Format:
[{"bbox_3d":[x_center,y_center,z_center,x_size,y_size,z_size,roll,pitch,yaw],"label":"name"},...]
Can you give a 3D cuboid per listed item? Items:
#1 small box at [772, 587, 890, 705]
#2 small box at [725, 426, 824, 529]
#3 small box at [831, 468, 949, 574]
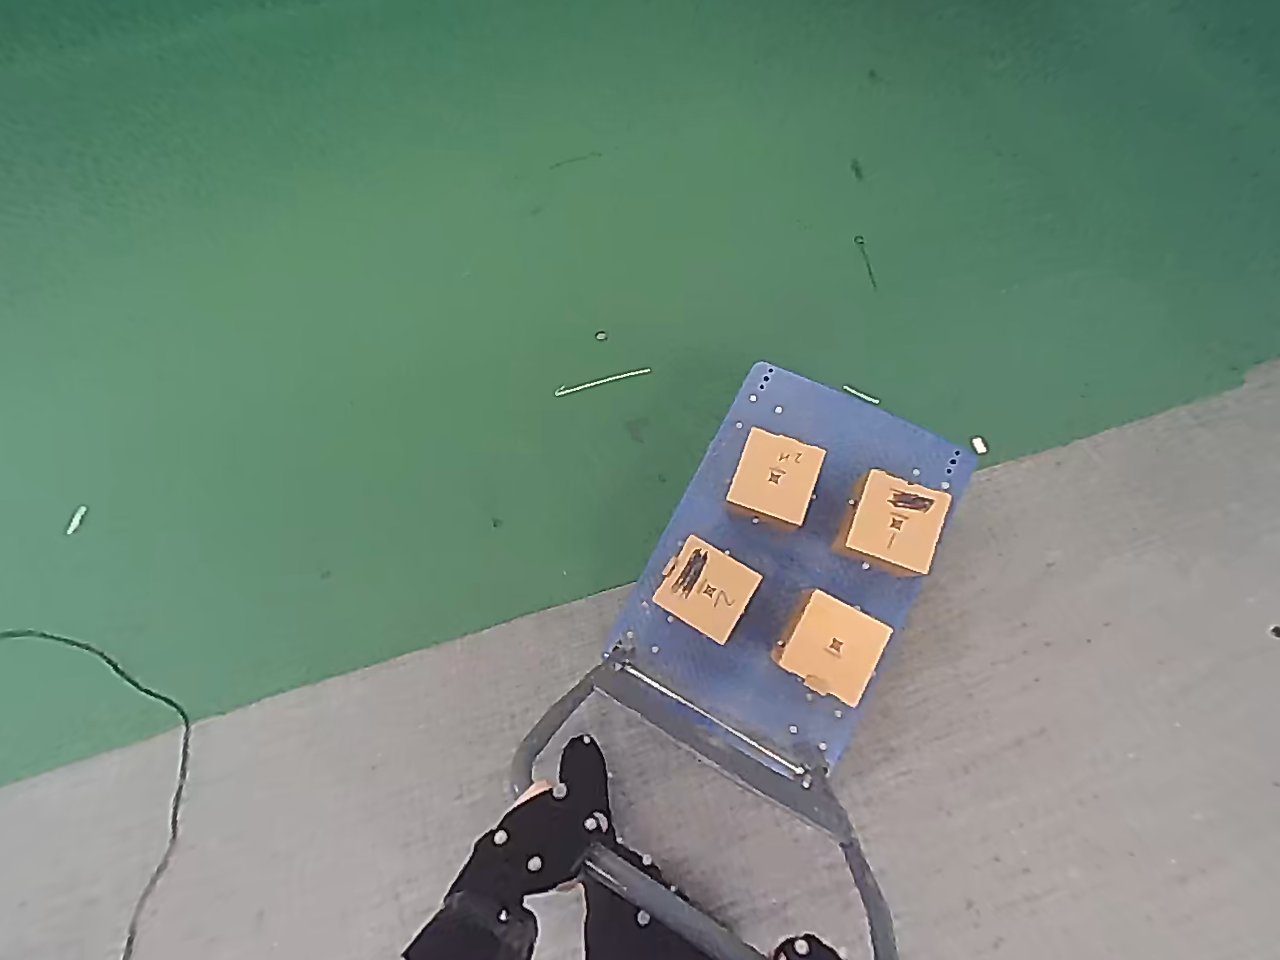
[{"bbox_3d":[0.396,0.343,1.155,0.168,0.176,0.179,28,84,12],"label":"small box"},{"bbox_3d":[0.299,0.002,1.233,0.168,0.176,0.179,20,82,10],"label":"small box"},{"bbox_3d":[0.536,0.096,1.184,0.168,0.176,0.179,21,83,11],"label":"small box"}]
